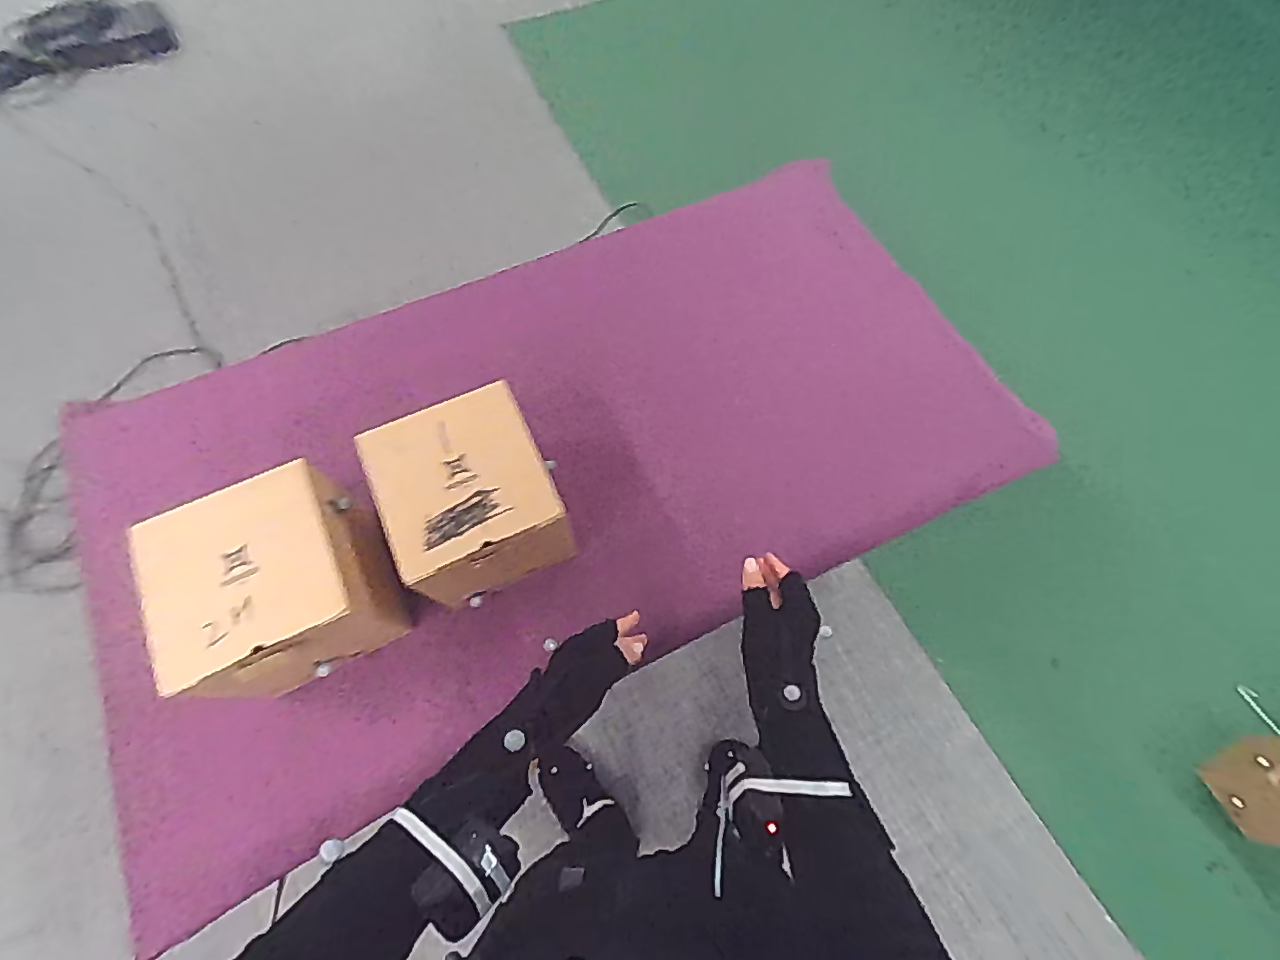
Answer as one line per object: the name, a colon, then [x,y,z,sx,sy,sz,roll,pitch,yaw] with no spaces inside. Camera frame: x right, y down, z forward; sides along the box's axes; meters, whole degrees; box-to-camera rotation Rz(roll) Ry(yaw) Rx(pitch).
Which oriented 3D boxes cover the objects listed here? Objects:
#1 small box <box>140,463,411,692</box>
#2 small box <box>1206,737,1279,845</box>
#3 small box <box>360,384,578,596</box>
small box: [-0.380,0.115,0.590,0.168,0.176,0.179,-25,72,-11]
small box: [1.445,0.691,1.198,0.179,0.176,0.168,-24,71,-10]
small box: [-0.185,0.025,0.637,0.168,0.176,0.179,-27,74,-8]
